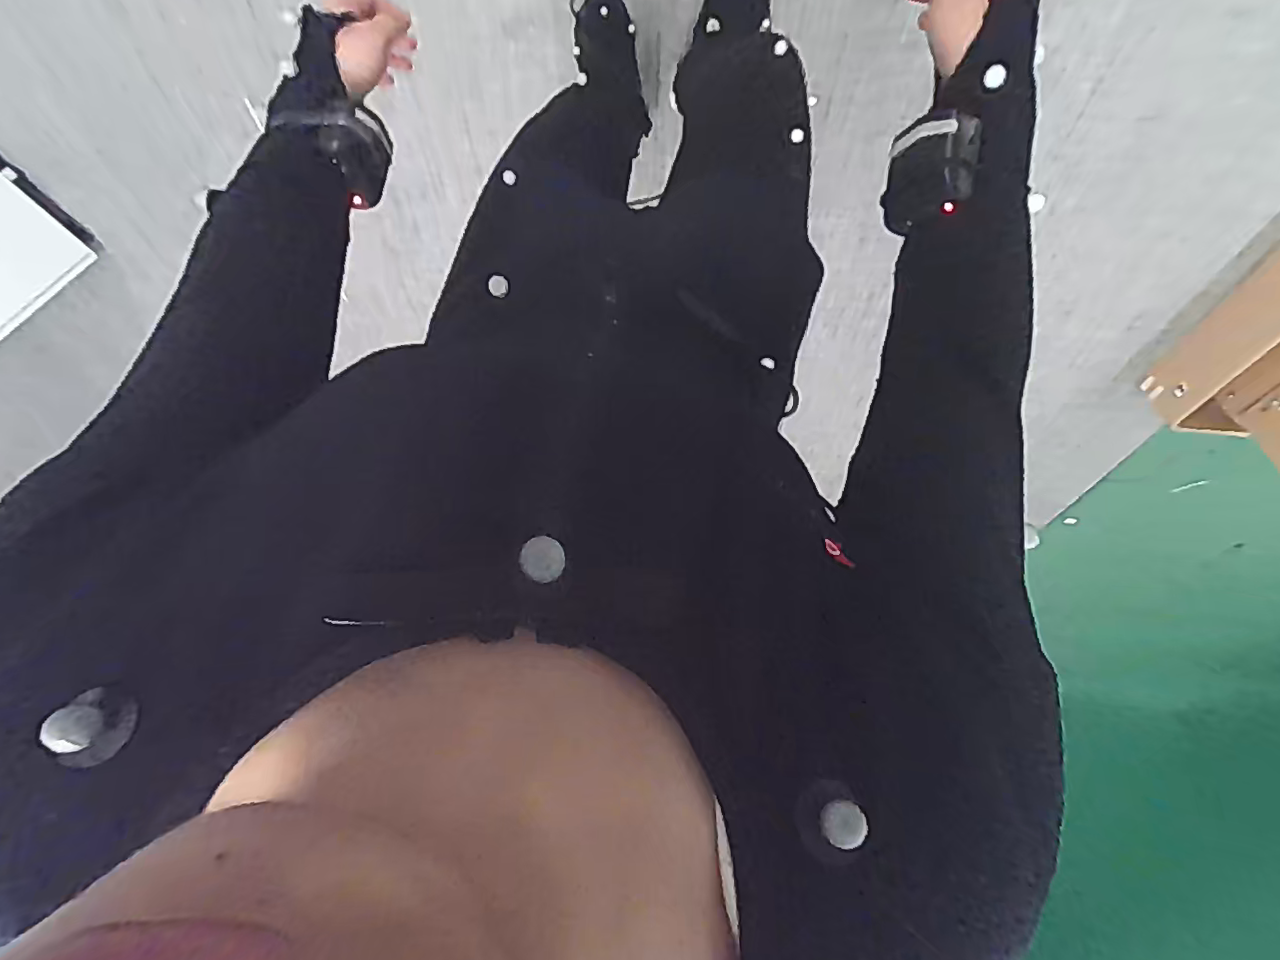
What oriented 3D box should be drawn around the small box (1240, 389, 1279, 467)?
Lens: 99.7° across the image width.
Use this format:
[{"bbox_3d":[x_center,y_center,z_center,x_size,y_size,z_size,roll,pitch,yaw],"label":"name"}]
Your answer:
[{"bbox_3d":[1.658,-0.136,1.312,0.179,0.176,0.168,6,141,-1],"label":"small box"}]
